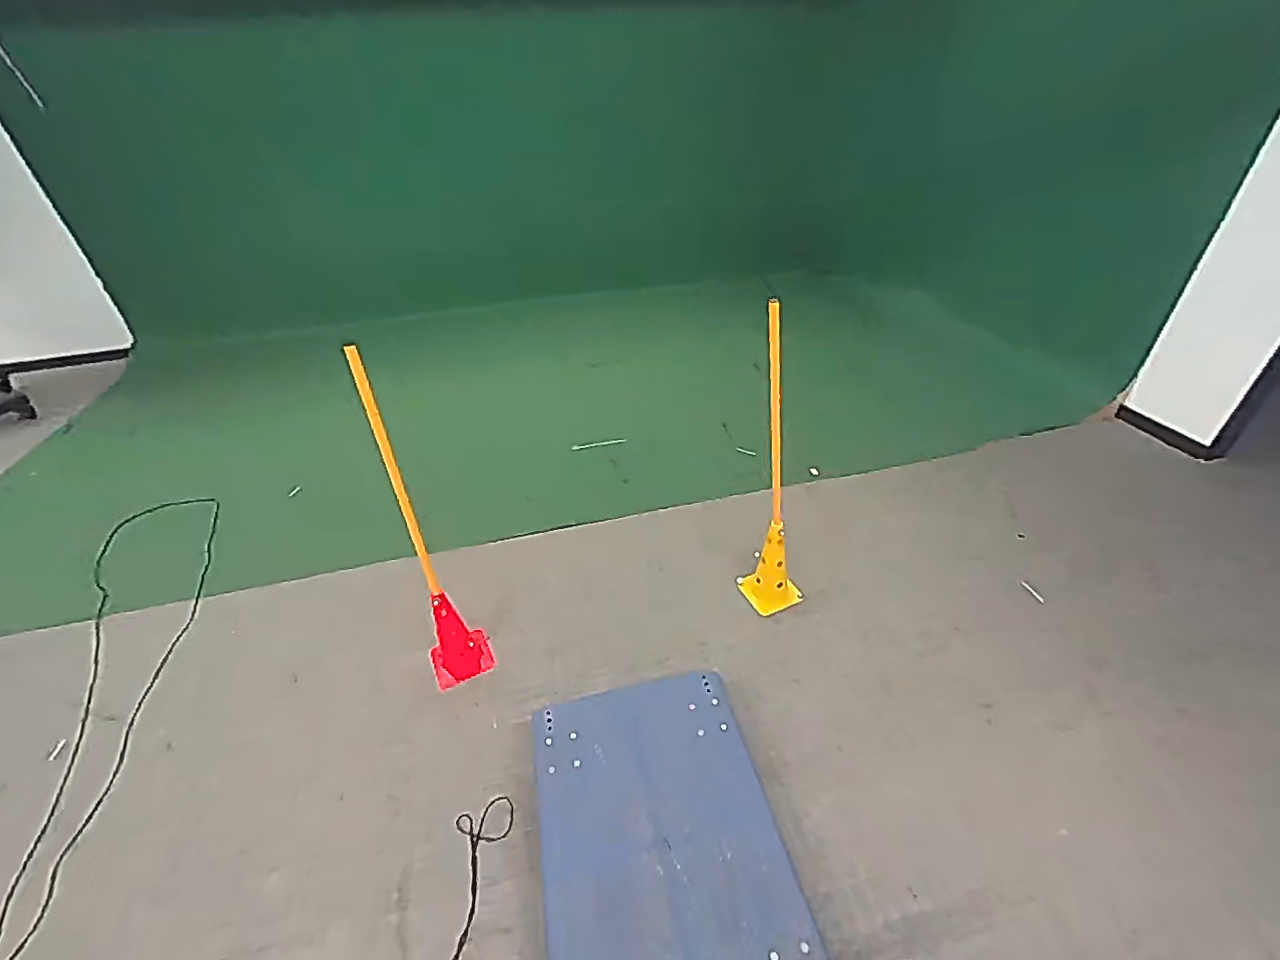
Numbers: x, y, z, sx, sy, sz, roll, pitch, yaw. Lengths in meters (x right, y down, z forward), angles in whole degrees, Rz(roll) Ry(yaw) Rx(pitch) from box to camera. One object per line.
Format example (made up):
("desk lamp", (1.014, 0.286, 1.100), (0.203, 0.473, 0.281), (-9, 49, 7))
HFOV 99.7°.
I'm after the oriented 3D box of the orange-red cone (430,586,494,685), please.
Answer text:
("orange-red cone", (-0.651, 0.497, 1.849), (0.199, 0.360, 0.198), (-21, 40, -19))
